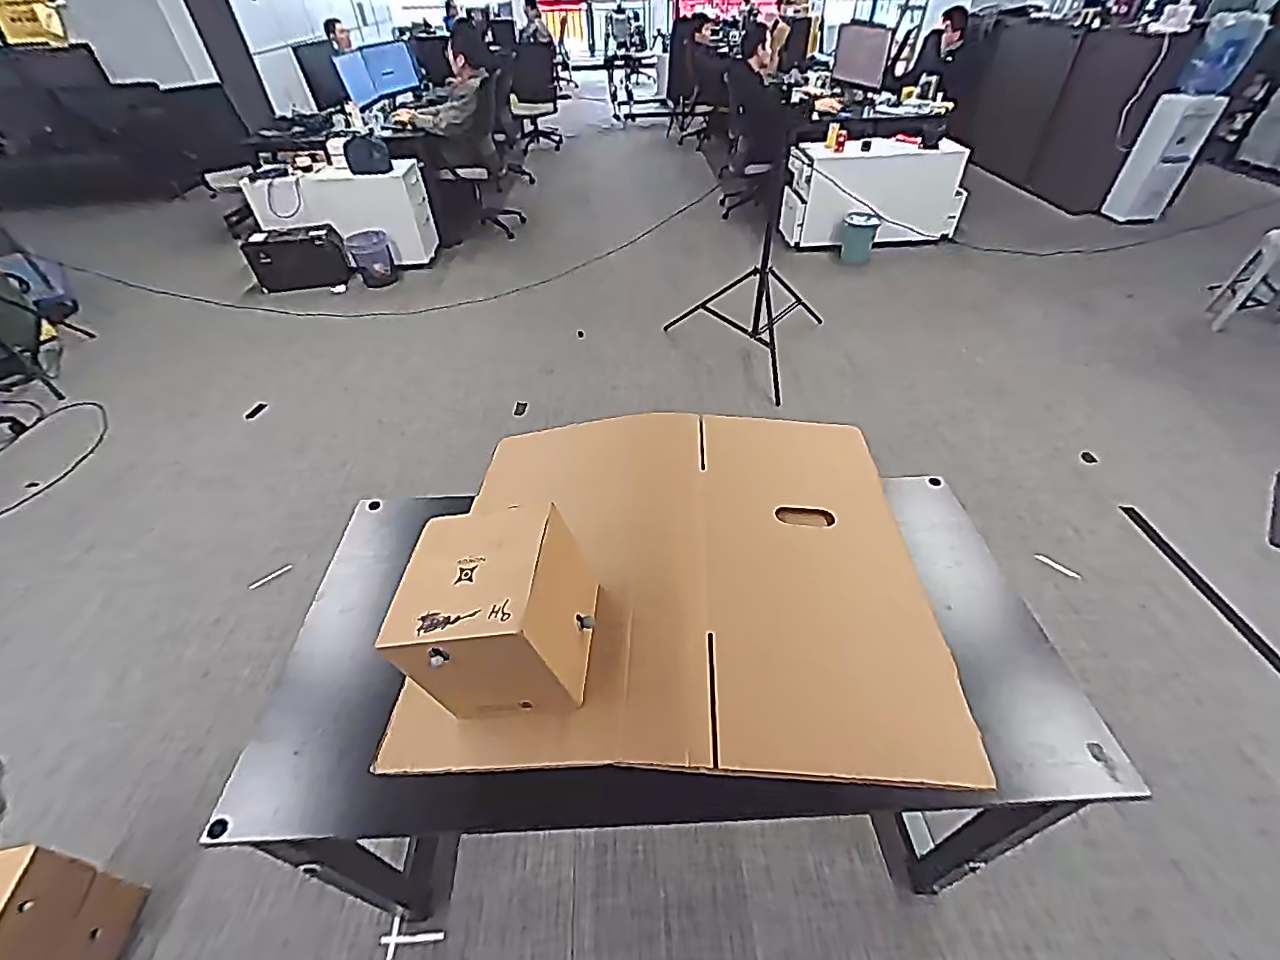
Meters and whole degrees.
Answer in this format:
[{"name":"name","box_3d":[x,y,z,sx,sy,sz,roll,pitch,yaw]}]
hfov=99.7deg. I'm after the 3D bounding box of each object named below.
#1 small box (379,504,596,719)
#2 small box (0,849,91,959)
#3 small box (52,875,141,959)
[{"name":"small box","box_3d":[-0.159,0.156,0.636,0.168,0.176,0.179,-10,41,13]},{"name":"small box","box_3d":[-1.209,0.829,1.013,0.168,0.176,0.179,-7,42,-6]},{"name":"small box","box_3d":[-1.203,0.951,1.120,0.168,0.176,0.179,-6,44,-4]}]
